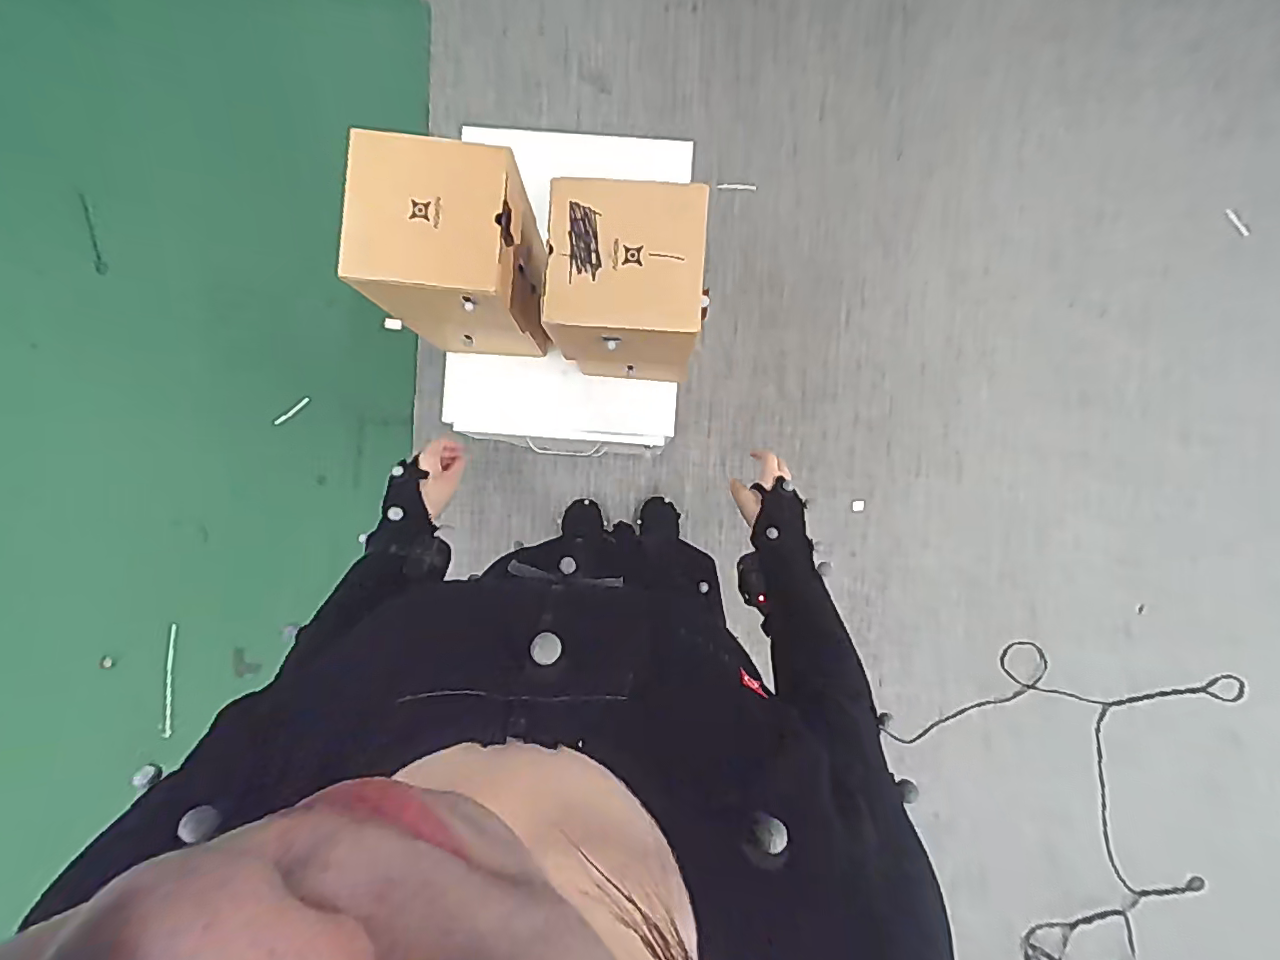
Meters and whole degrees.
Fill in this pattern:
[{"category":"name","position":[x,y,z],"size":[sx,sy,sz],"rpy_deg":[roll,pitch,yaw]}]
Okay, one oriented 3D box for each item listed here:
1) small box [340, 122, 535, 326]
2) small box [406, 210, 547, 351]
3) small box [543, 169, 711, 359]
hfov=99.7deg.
[{"category":"small box","position":[-0.236,-0.301,0.671],"size":[0.179,0.176,0.168],"rpy_deg":[5,89,-3]},{"category":"small box","position":[-0.241,-0.302,0.835],"size":[0.179,0.176,0.168],"rpy_deg":[3,89,-2]},{"category":"small box","position":[-0.014,-0.253,0.671],"size":[0.179,0.176,0.168],"rpy_deg":[4,89,0]}]
